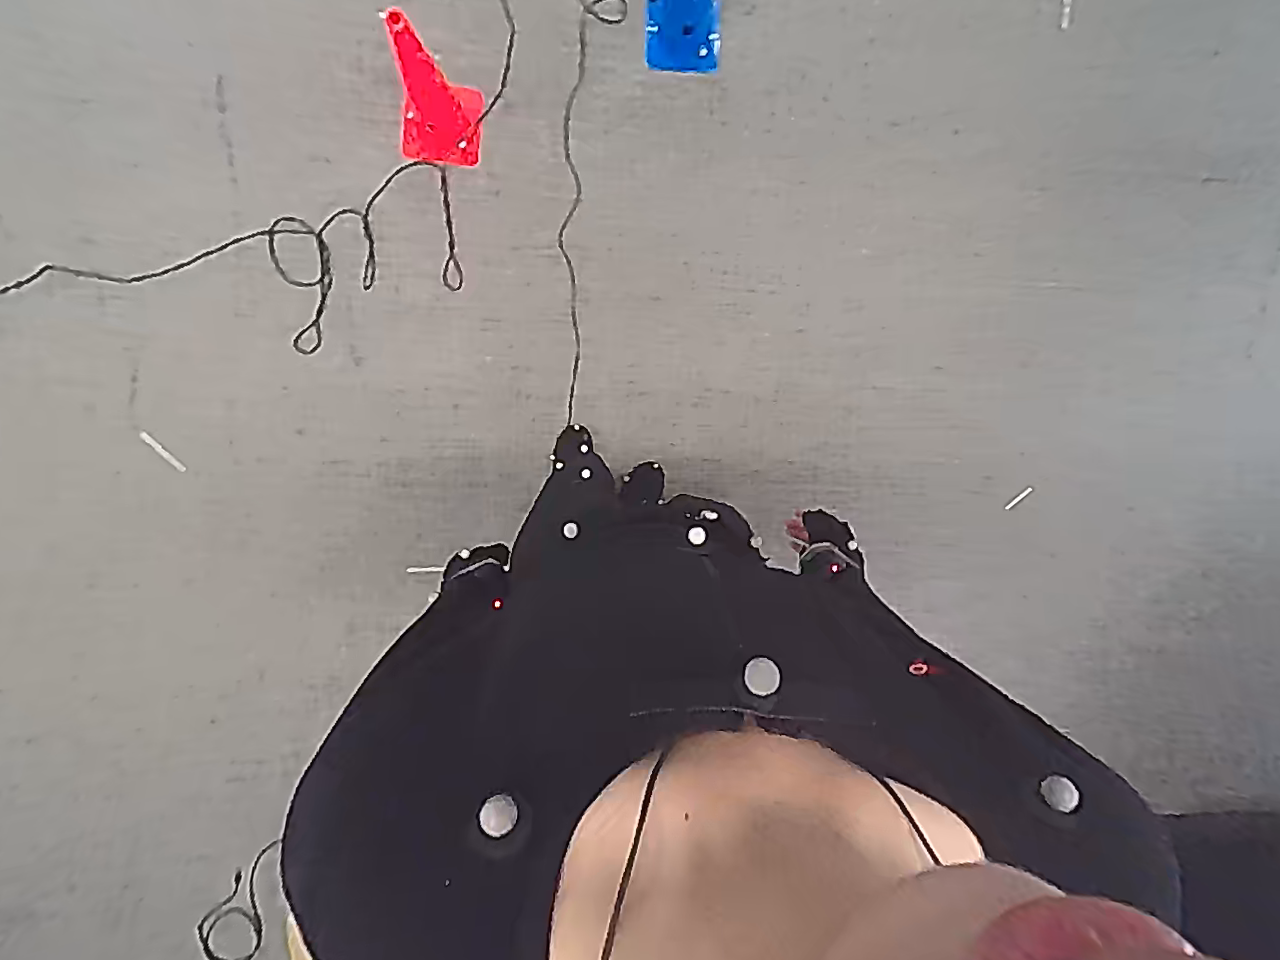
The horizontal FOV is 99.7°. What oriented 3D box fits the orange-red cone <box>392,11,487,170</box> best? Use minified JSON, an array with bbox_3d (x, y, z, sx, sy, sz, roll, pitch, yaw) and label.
[{"bbox_3d":[-0.493,-0.922,1.248,0.198,0.360,0.199,6,91,-6],"label":"orange-red cone"}]
